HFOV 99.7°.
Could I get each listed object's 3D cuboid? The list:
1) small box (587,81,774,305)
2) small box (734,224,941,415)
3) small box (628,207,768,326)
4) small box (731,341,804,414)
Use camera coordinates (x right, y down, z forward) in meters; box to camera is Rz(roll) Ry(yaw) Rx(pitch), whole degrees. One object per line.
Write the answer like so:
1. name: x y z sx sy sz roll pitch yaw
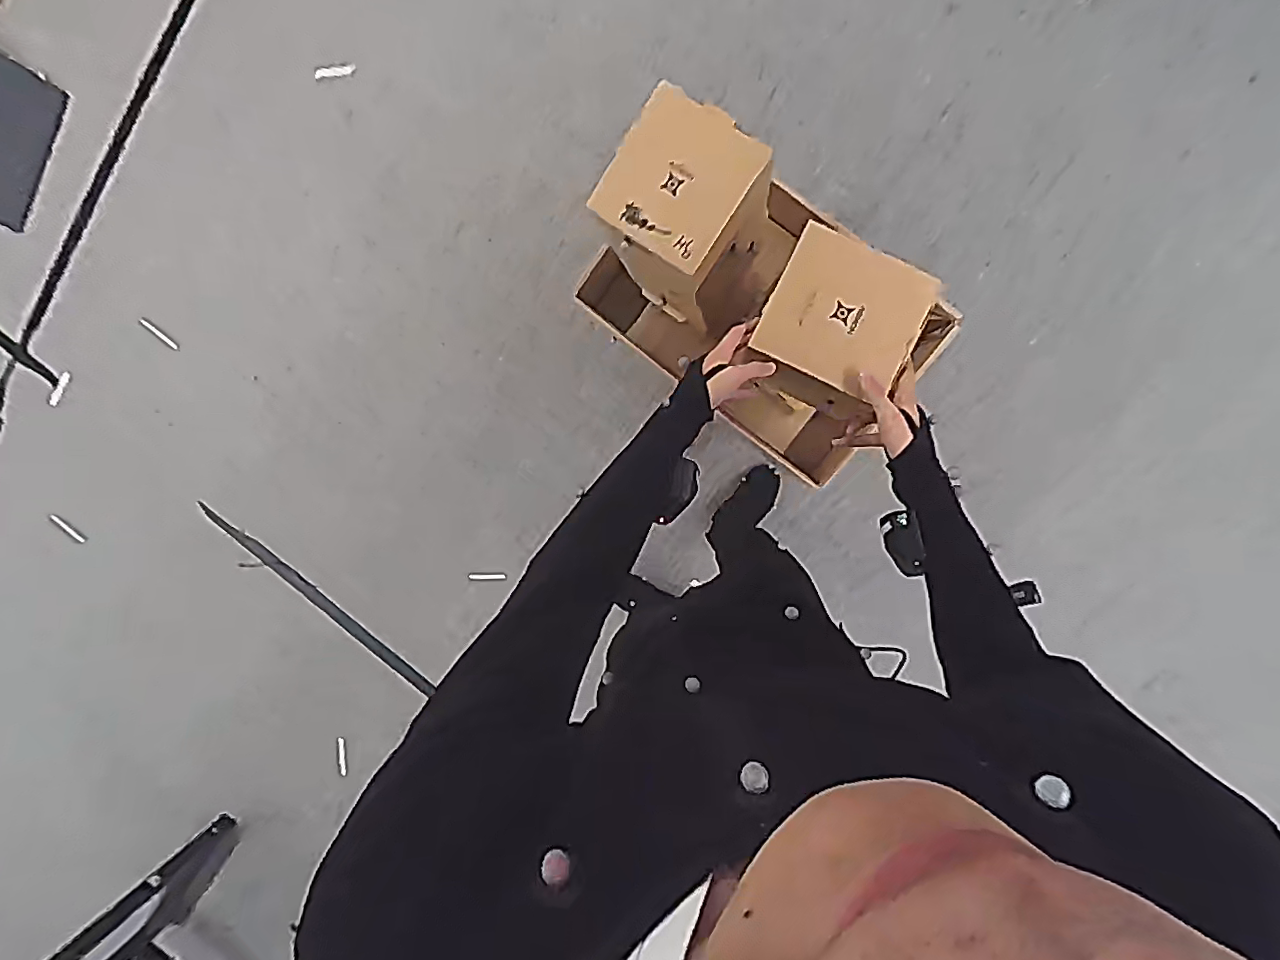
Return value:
1. small box: 0.057 -0.371 0.734 0.168 0.176 0.179 36 98 5
2. small box: 0.242 -0.194 0.711 0.179 0.176 0.168 27 94 3
3. small box: 0.087 -0.382 0.897 0.168 0.176 0.179 36 100 4
4. small box: 0.291 -0.244 1.049 0.168 0.176 0.179 41 100 4
